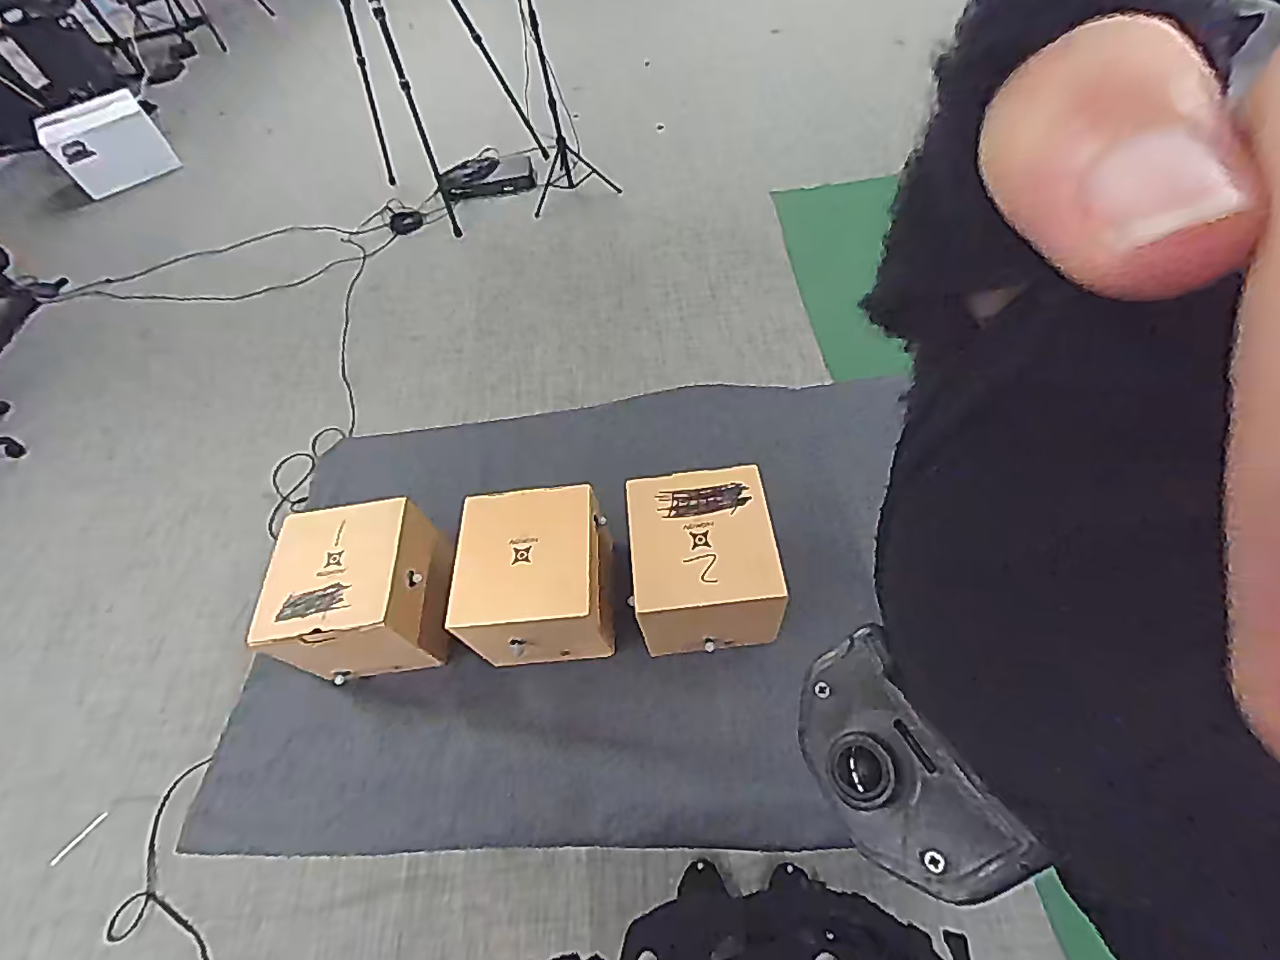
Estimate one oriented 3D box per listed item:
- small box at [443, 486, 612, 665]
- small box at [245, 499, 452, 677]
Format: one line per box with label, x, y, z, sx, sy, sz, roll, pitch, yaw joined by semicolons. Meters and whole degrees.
small box;-0.130;0.132;0.700;0.168;0.176;0.179;-6;55;4
small box;-0.365;0.152;0.719;0.168;0.176;0.179;-9;54;2
